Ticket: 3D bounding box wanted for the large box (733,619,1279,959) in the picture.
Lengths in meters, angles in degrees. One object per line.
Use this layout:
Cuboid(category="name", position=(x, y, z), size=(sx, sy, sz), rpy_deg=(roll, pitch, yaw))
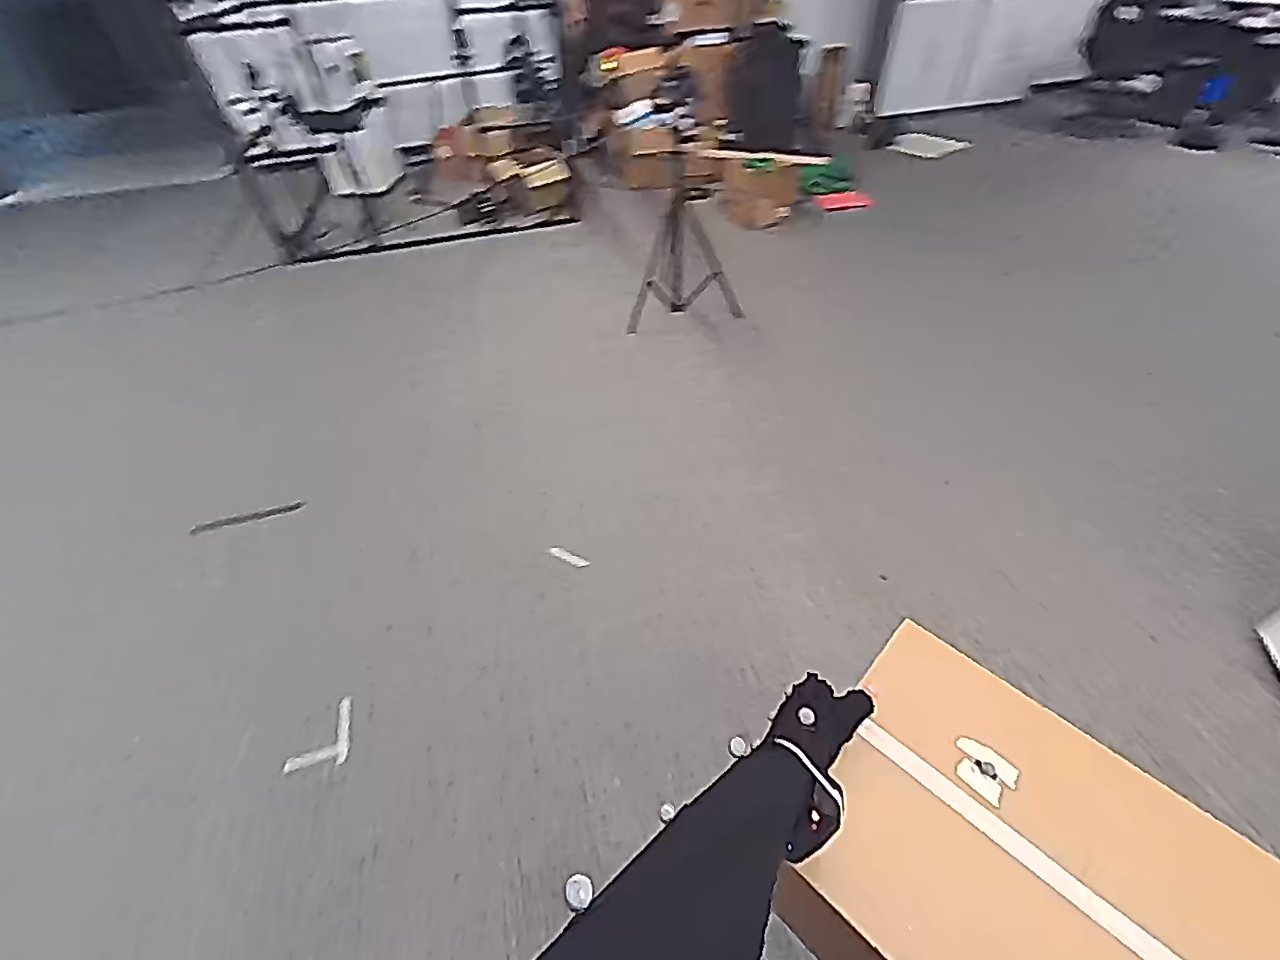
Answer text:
Cuboid(category="large box", position=(0.363, 0.452, 0.627), size=(0.408, 0.320, 0.320), rpy_deg=(34, 58, 30))
